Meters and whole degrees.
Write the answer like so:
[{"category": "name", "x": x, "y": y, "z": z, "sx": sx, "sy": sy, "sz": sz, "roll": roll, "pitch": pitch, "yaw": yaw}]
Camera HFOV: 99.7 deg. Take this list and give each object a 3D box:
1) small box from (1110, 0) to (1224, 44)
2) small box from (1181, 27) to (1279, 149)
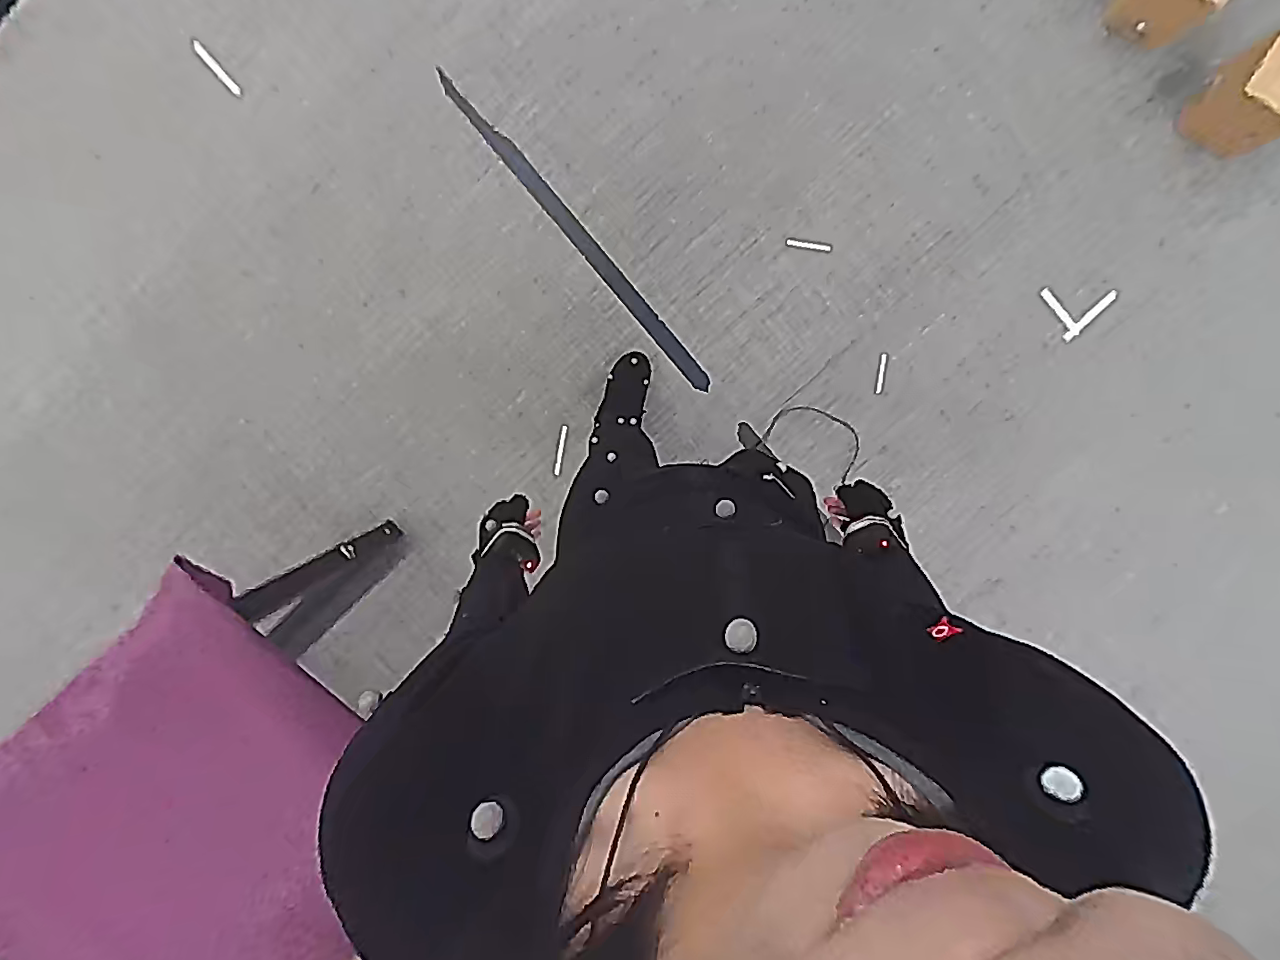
[{"category": "small box", "x": 1.281, "y": -1.200, "z": 1.275, "sx": 0.168, "sy": 0.176, "sz": 0.179, "roll": 28, "pitch": 97, "yaw": -4}, {"category": "small box", "x": 1.506, "y": -0.947, "z": 1.314, "sx": 0.179, "sy": 0.176, "sz": 0.168, "roll": 29, "pitch": 96, "yaw": -3}]
